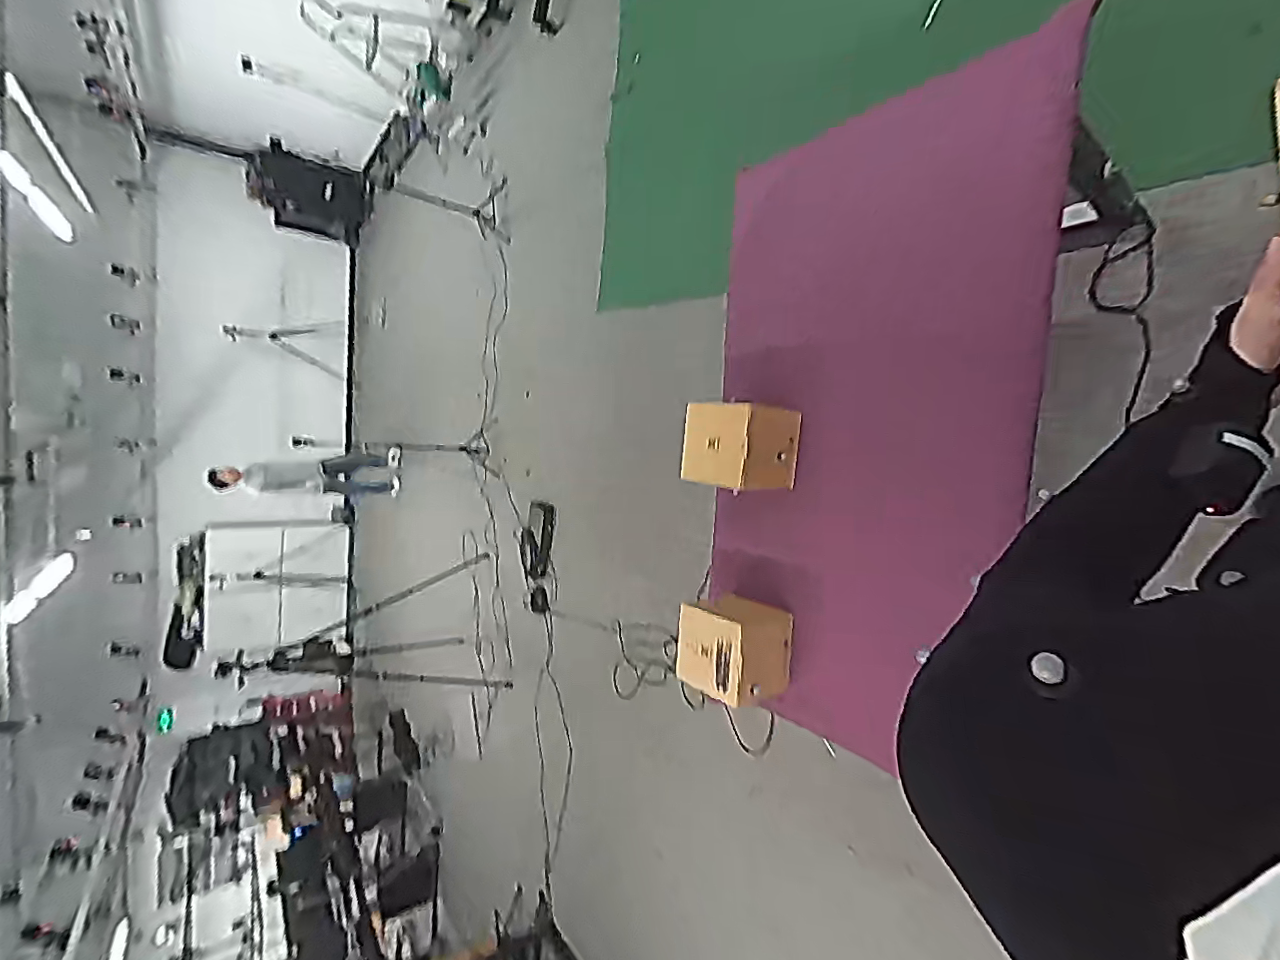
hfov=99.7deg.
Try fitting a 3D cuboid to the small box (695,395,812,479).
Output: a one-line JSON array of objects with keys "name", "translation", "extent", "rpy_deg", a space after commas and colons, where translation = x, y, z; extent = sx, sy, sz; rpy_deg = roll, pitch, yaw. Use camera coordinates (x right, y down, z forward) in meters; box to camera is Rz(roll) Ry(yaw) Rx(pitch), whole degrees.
[{"name": "small box", "translation": [0.245, -0.094, 1.176], "extent": [0.179, 0.176, 0.168], "rpy_deg": [12, 99, 51]}]
